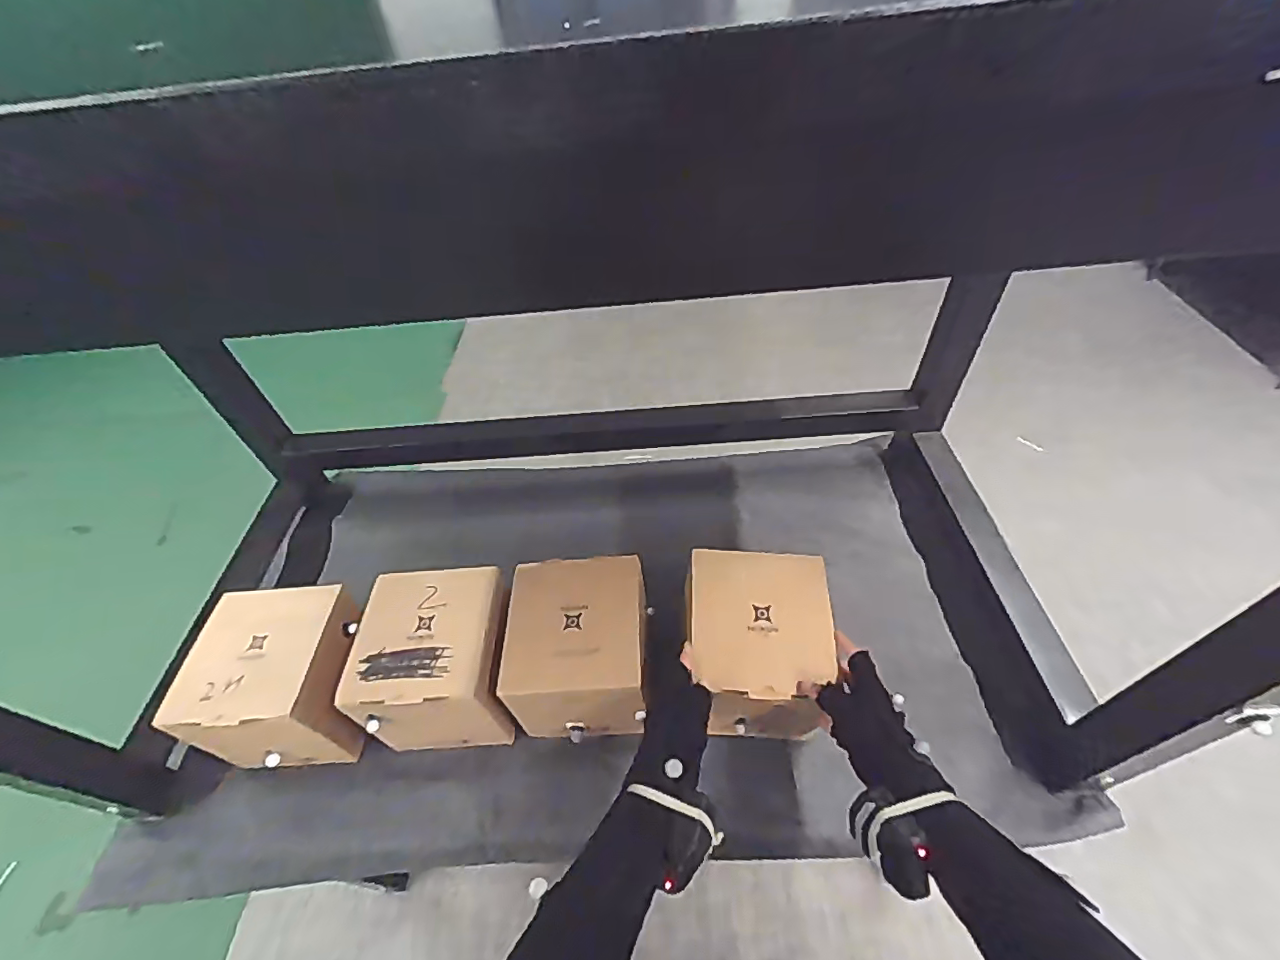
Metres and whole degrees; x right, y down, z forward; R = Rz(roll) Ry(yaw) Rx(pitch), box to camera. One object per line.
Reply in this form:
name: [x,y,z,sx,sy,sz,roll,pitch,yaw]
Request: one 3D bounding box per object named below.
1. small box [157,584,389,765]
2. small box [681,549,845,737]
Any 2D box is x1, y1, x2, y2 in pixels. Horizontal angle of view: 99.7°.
small box: [-0.463,0.260,0.722,0.168,0.176,0.179,-5,47,2]
small box: [0.140,0.208,0.687,0.168,0.176,0.179,3,52,2]
